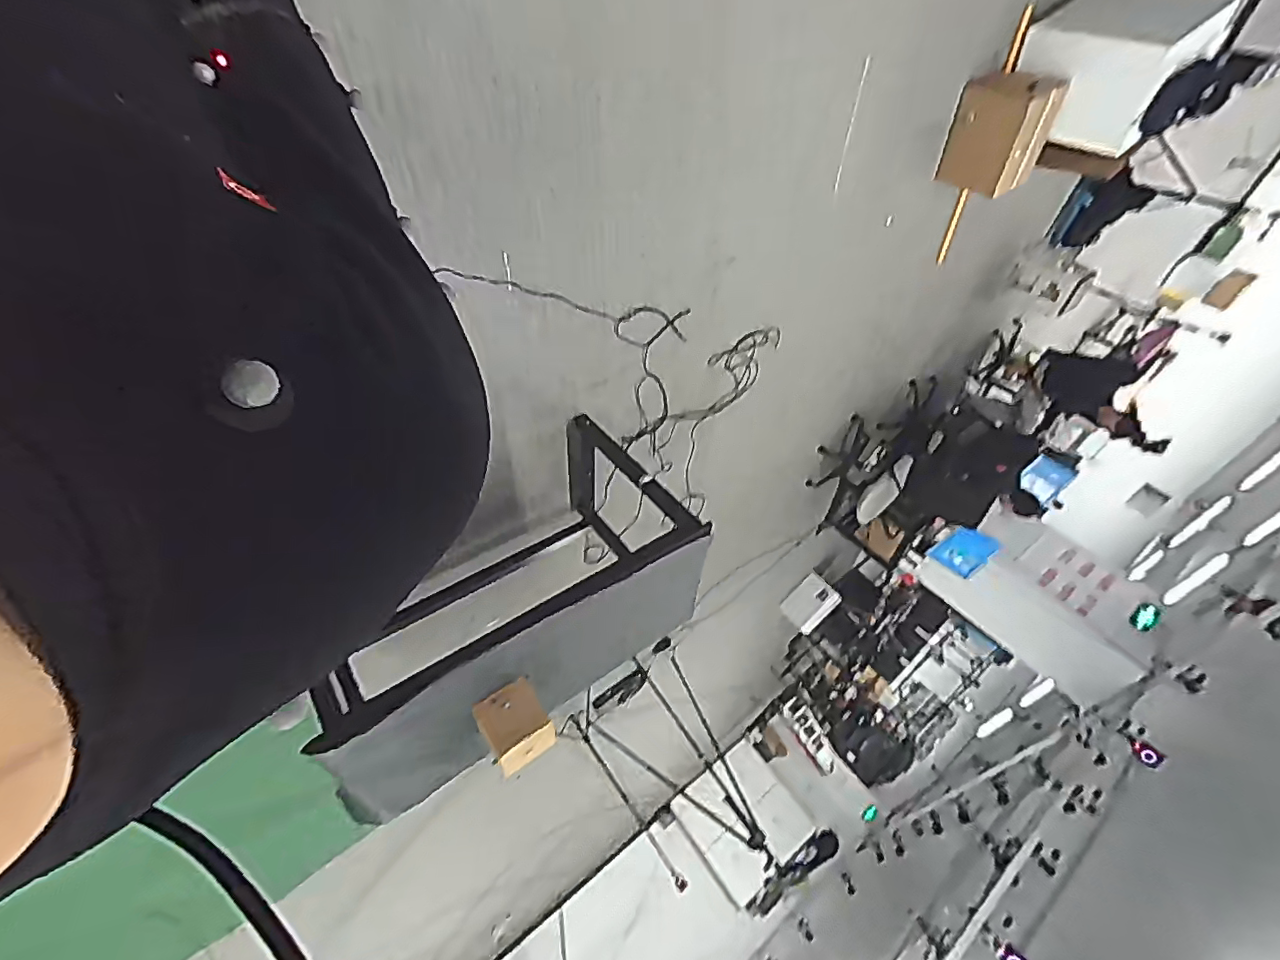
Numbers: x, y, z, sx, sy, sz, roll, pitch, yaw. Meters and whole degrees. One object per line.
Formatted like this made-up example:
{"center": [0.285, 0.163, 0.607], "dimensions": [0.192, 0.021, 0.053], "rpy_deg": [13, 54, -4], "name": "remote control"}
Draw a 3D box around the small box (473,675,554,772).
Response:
{"center": [-0.367, 0.705, 1.576], "dimensions": [0.168, 0.176, 0.179], "rpy_deg": [-26, 143, -27], "name": "small box"}
